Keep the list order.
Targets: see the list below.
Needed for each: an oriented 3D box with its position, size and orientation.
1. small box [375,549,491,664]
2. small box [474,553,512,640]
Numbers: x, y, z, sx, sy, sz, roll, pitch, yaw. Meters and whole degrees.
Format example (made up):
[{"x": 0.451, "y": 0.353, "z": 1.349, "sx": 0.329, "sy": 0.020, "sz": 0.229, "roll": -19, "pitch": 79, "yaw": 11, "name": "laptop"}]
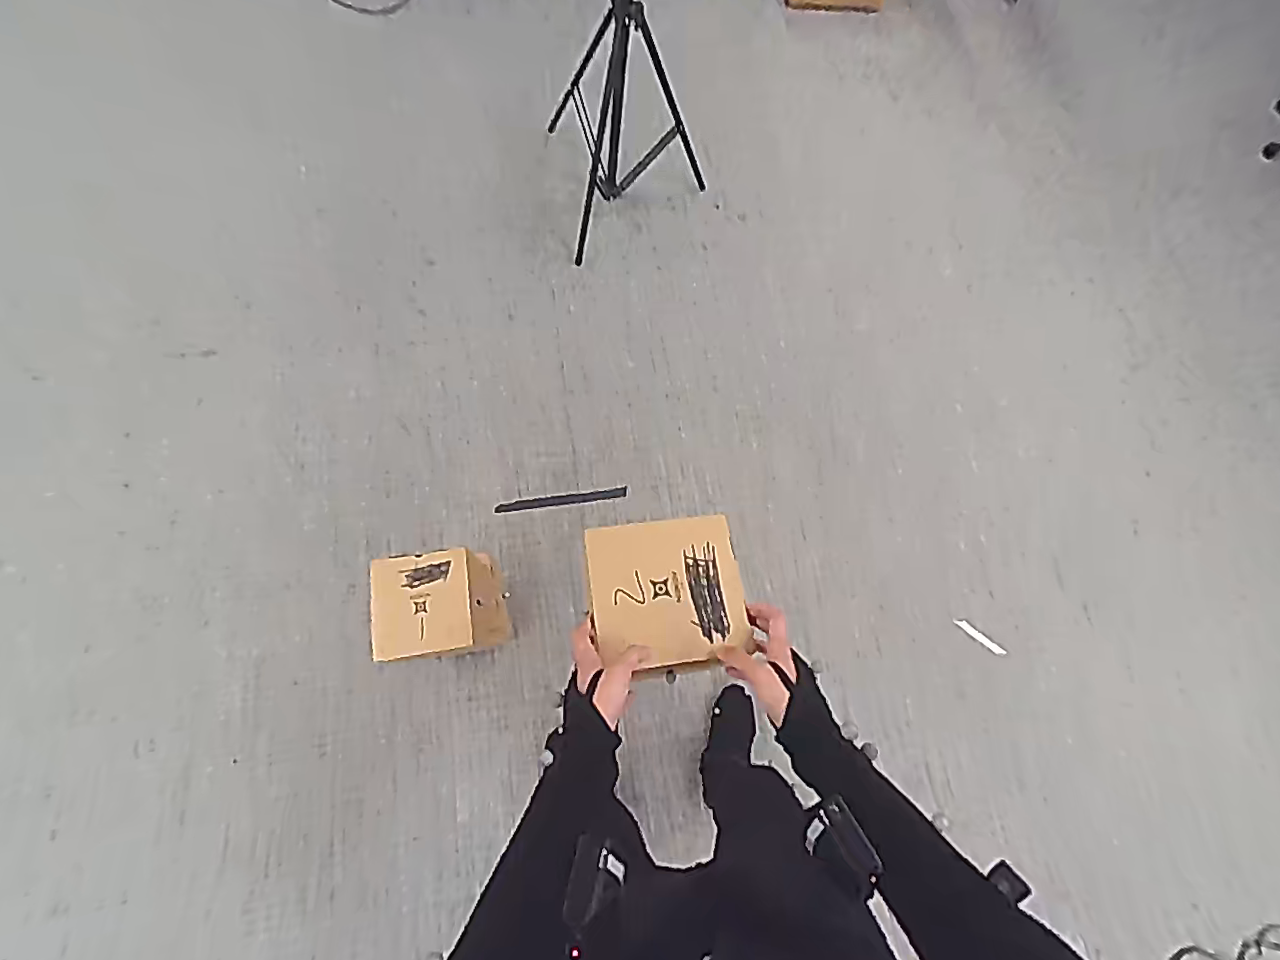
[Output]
[{"x": -0.380, "y": 0.240, "z": 1.008, "sx": 0.168, "sy": 0.176, "sz": 0.179, "roll": -8, "pitch": 73, "yaw": -8, "name": "small box"}, {"x": -0.385, "y": 0.270, "z": 1.172, "sx": 0.179, "sy": 0.176, "sz": 0.168, "roll": -11, "pitch": 72, "yaw": -10, "name": "small box"}]
